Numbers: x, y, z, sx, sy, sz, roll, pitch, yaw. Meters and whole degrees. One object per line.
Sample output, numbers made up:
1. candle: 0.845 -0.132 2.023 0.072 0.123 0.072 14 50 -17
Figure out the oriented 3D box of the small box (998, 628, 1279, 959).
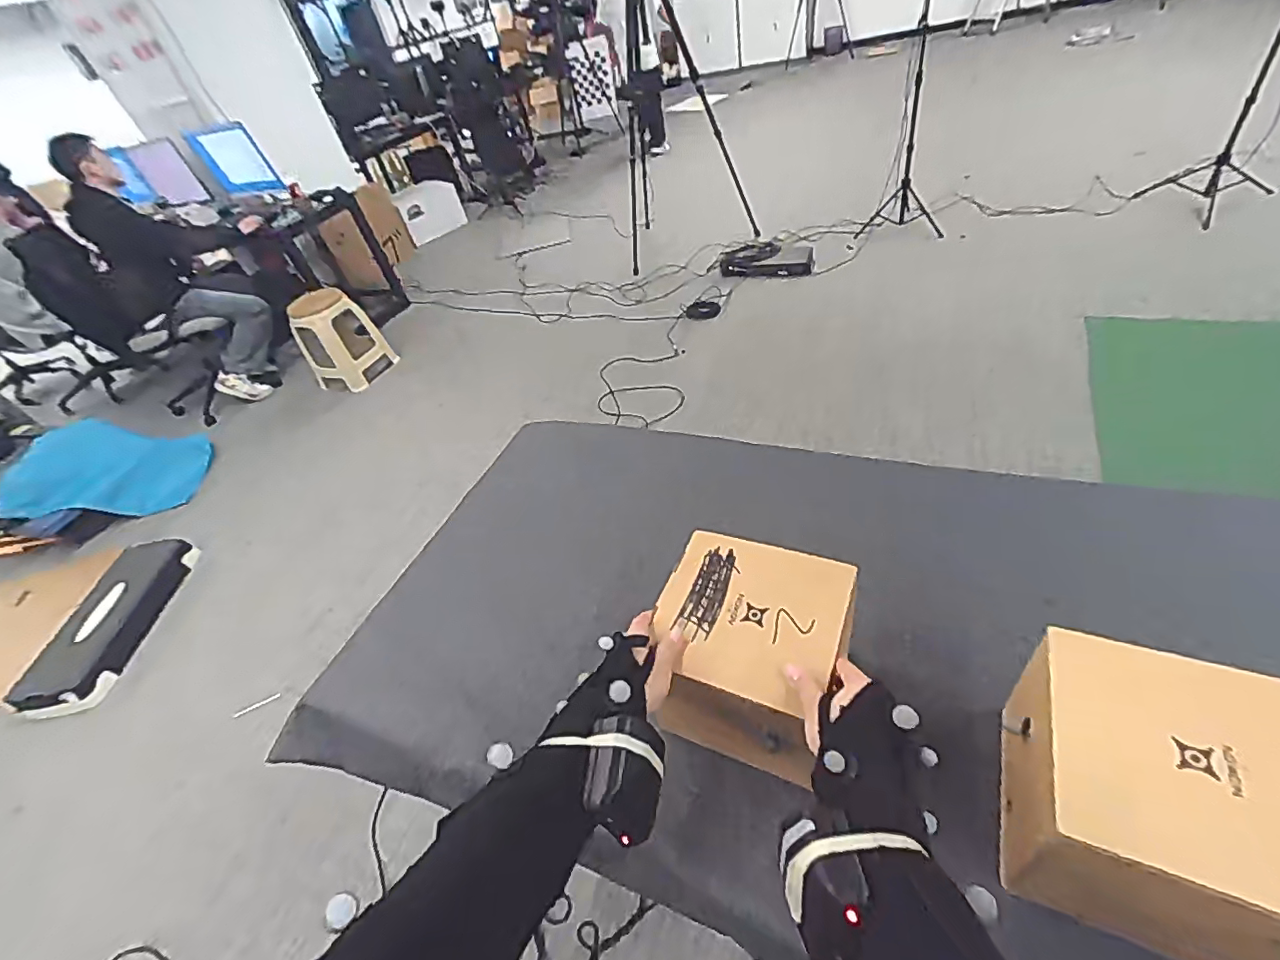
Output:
1. small box: 0.398 0.248 0.421 0.179 0.176 0.168 10 48 26
